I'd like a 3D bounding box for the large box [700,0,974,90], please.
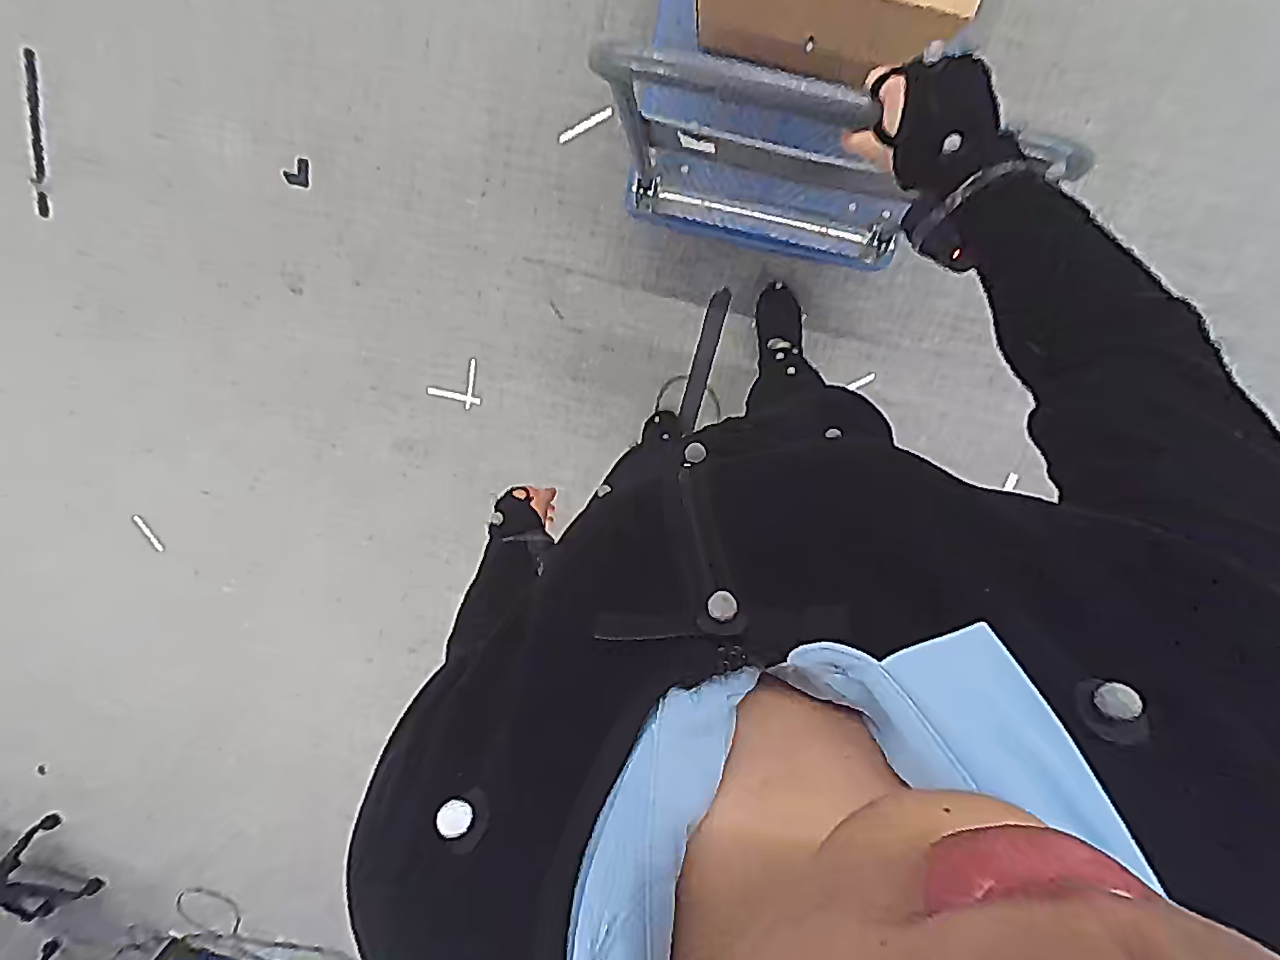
[{"bbox_3d":[0.331,-0.892,0.868,0.408,0.320,0.320,16,108,2],"label":"large box"}]
